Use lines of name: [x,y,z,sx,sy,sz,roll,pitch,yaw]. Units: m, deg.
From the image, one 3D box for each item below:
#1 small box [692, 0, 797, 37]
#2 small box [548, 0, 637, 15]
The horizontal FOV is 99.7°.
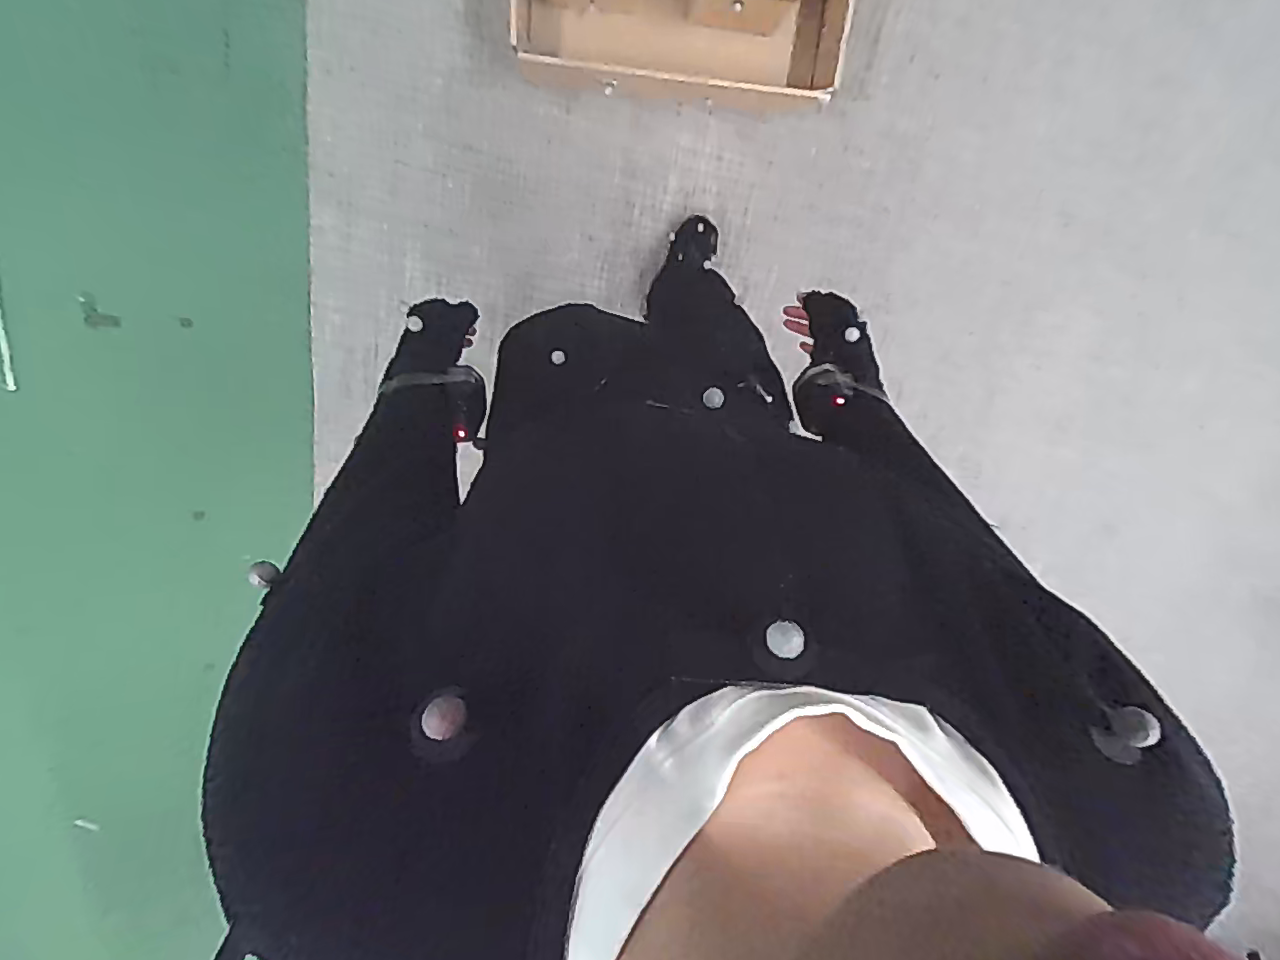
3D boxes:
small box: [0.199,-0.956,0.995,0.179,0.176,0.168,4,111,-6]
small box: [-0.082,-0.969,0.965,0.179,0.176,0.168,0,111,-7]
